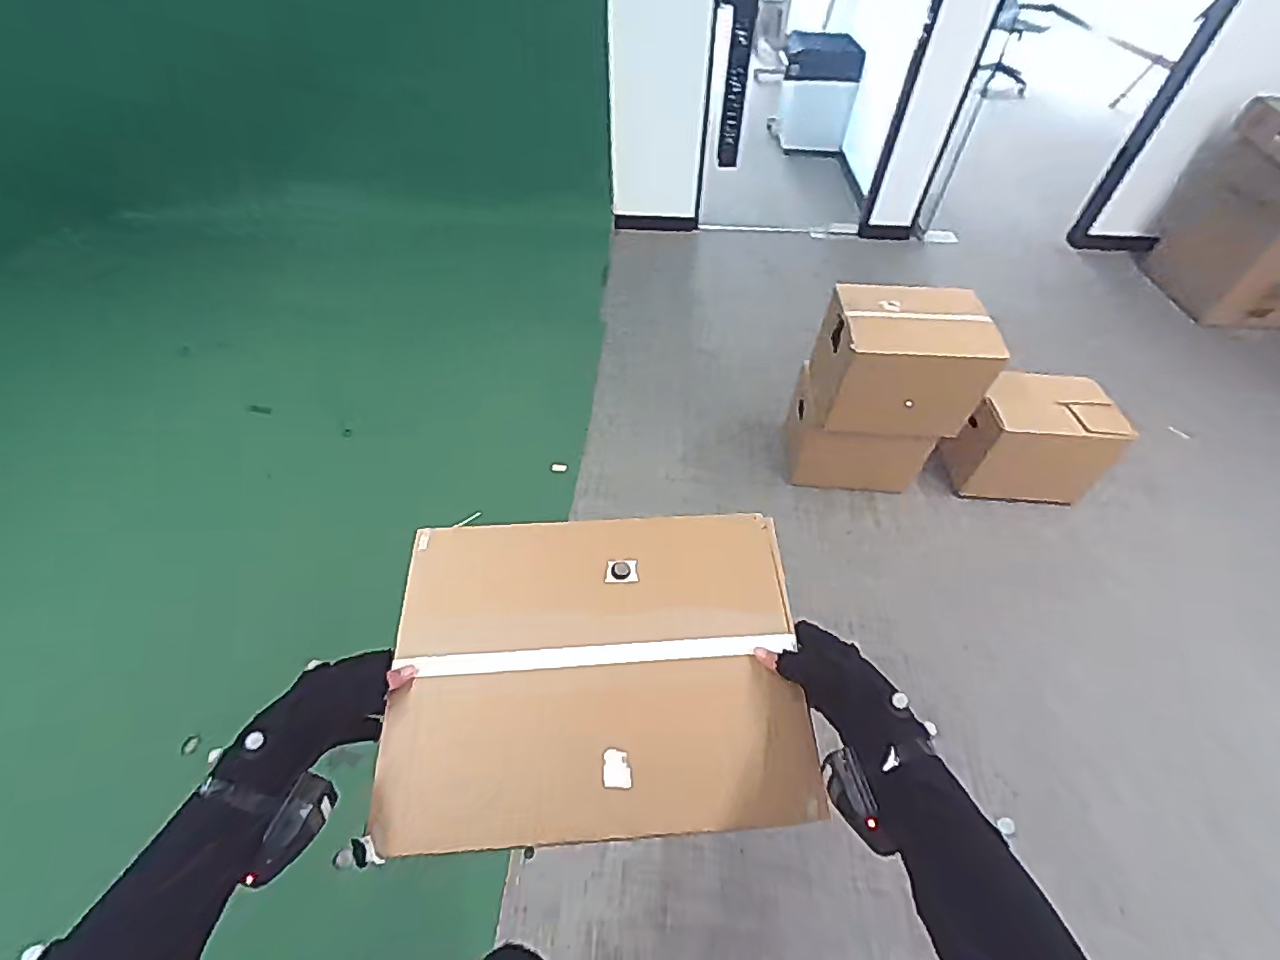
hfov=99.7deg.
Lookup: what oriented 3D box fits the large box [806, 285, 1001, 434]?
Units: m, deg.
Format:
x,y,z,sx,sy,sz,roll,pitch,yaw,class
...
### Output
x,y,z,sx,sy,sz,roll,pitch,yaw,class
0.745,-0.353,1.606,0.408,0.320,0.320,2,52,2,large box
